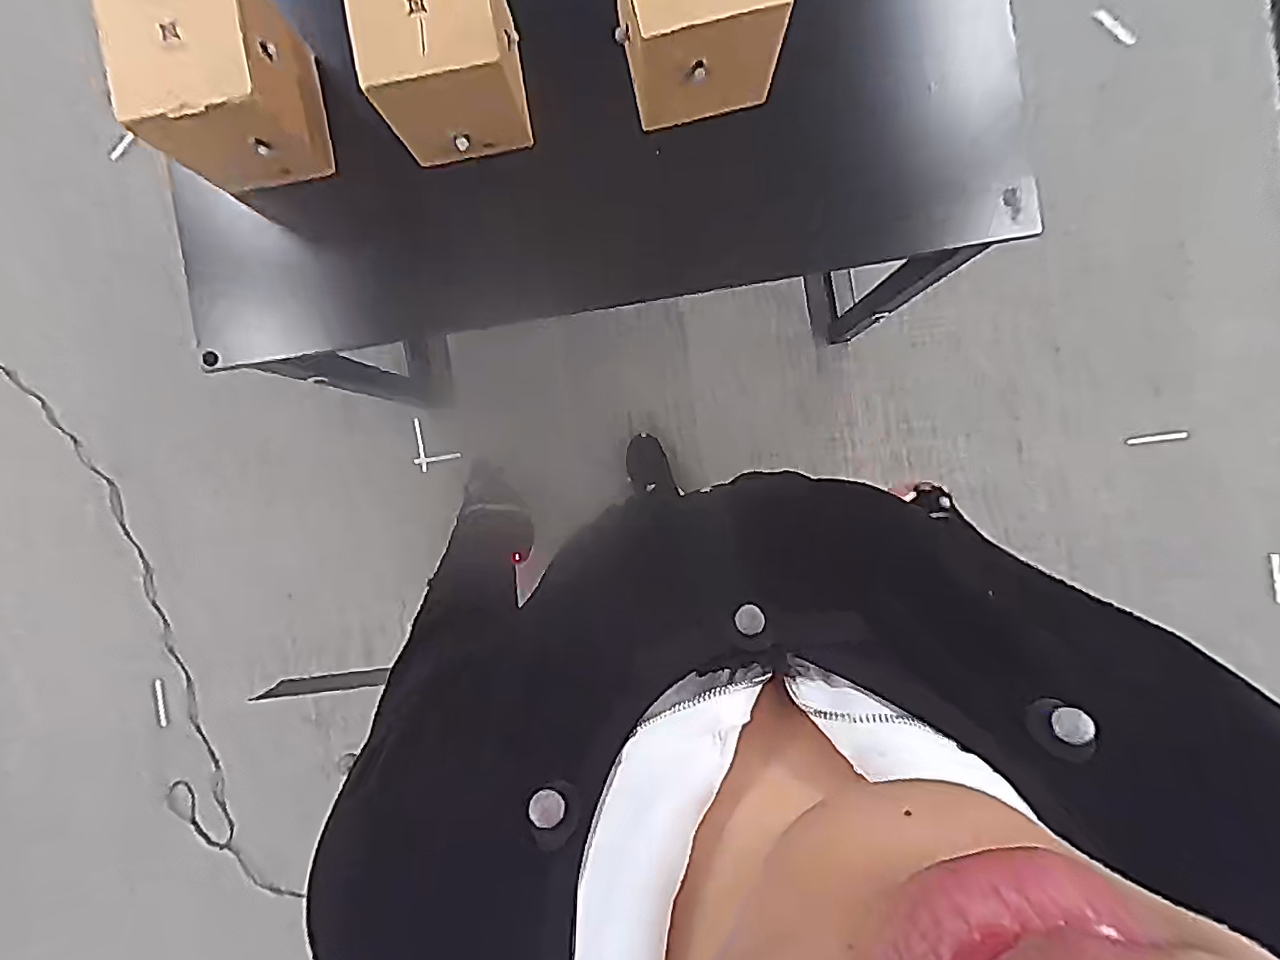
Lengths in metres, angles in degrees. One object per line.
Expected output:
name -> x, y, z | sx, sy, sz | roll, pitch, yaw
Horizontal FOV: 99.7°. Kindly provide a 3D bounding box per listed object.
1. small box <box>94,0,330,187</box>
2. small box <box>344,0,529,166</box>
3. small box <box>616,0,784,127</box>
small box -> -0.535, -0.508, 0.701 | 0.168, 0.176, 0.179 | -11, 90, 1
small box -> -0.250, -0.543, 0.690 | 0.168, 0.176, 0.179 | -9, 92, 2
small box -> 0.064, -0.585, 0.679 | 0.179, 0.176, 0.168 | -13, 91, 3
